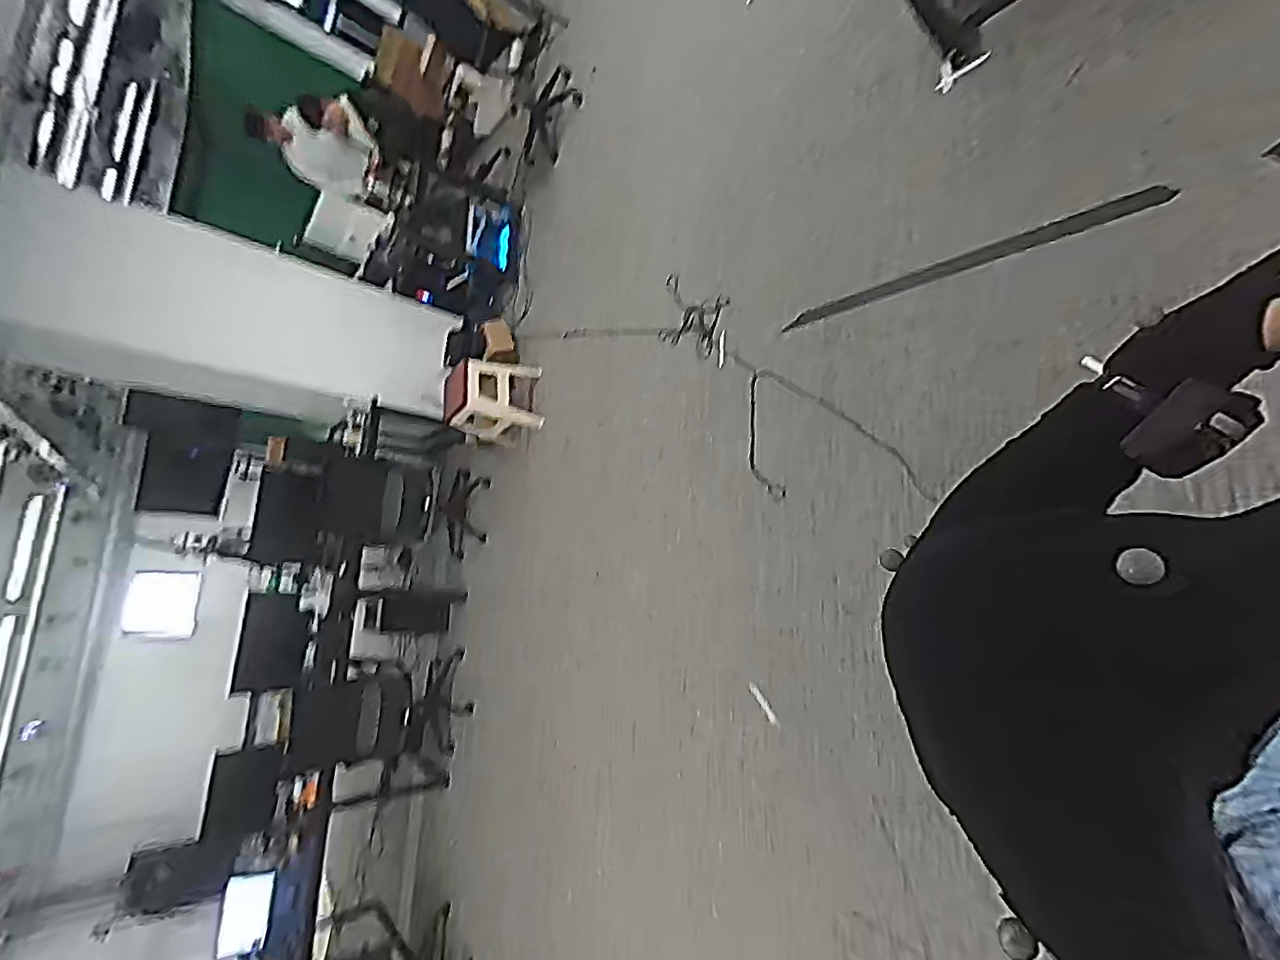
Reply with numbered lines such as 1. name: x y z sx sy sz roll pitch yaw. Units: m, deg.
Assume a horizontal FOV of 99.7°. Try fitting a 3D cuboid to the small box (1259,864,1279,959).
1. small box: 1.095 0.746 0.844 0.168 0.176 0.179 -3 80 50
